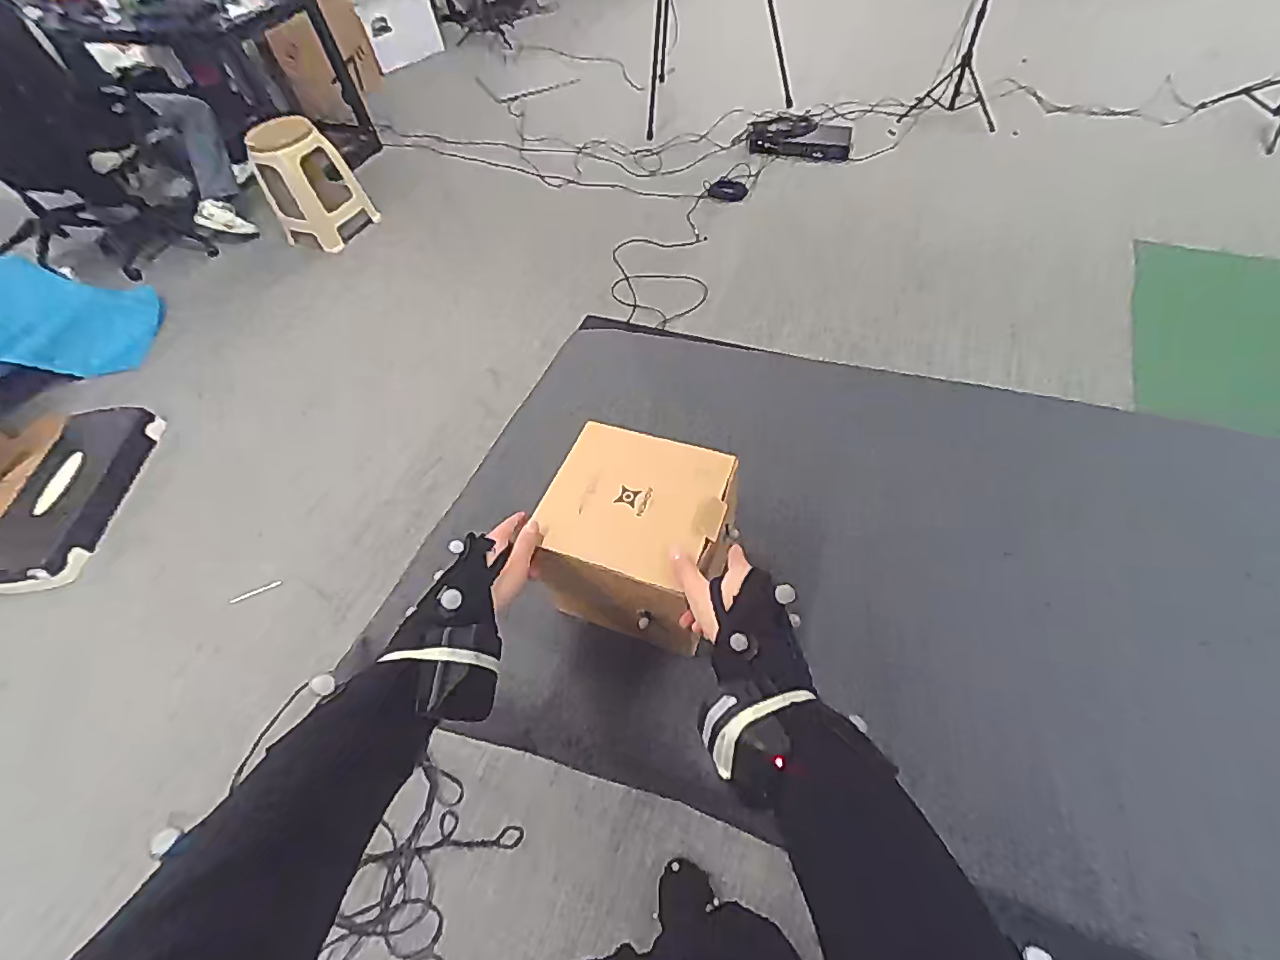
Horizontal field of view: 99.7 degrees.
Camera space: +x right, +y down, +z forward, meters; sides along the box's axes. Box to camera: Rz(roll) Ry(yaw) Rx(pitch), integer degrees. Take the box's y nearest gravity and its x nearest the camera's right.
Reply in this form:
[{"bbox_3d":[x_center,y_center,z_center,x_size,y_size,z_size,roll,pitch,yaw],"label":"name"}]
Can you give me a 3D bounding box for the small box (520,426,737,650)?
[{"bbox_3d":[0.000,0.069,0.602,0.179,0.176,0.168,14,56,17],"label":"small box"}]
